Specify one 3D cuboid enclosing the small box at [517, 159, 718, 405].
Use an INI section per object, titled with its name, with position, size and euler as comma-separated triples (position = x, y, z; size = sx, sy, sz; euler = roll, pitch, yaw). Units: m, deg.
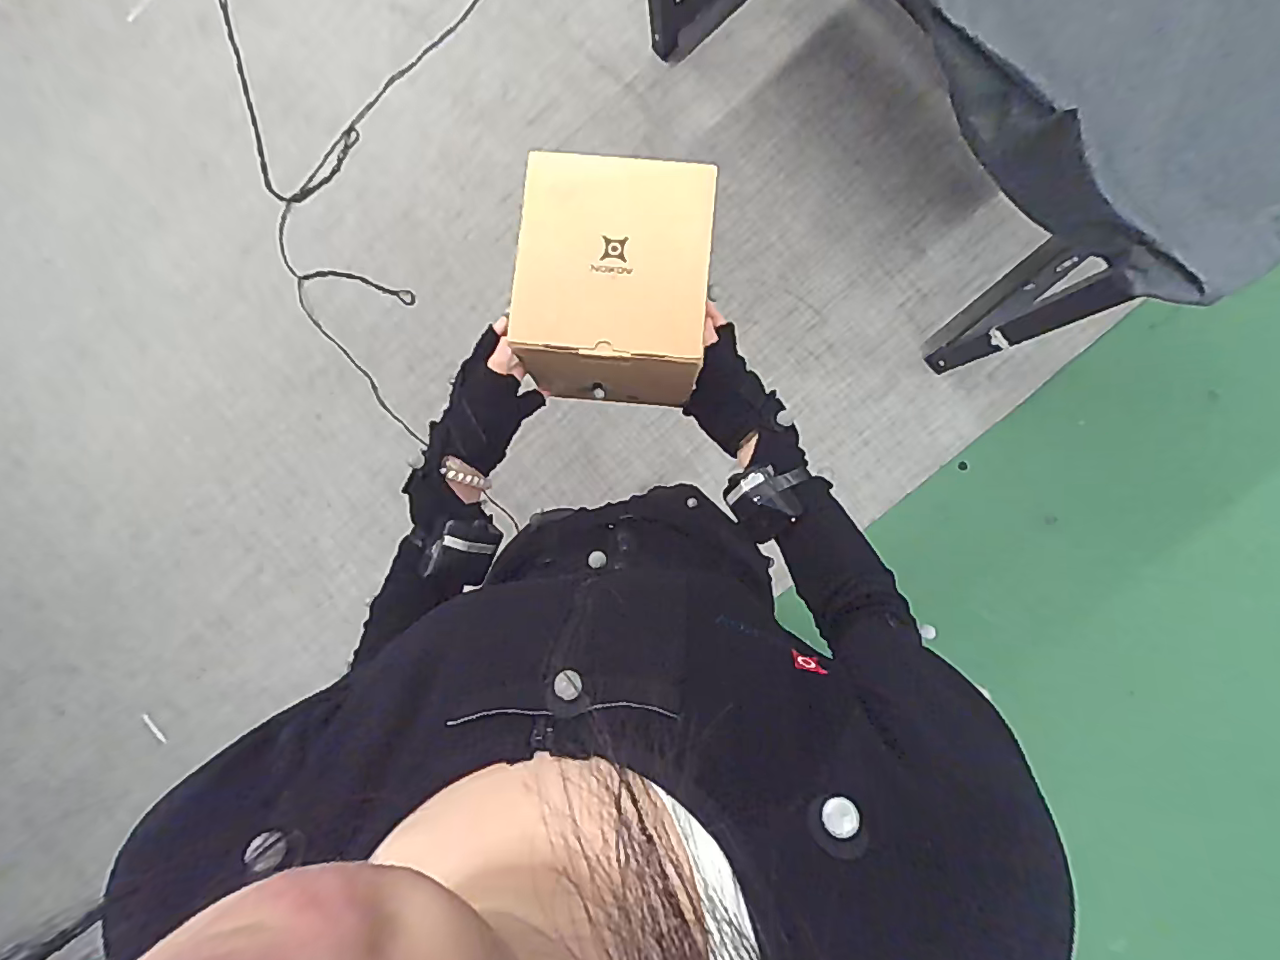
[small box]
position = -0.019, -0.187, 0.554
size = 0.168, 0.176, 0.179
euler = 5, 85, 1
